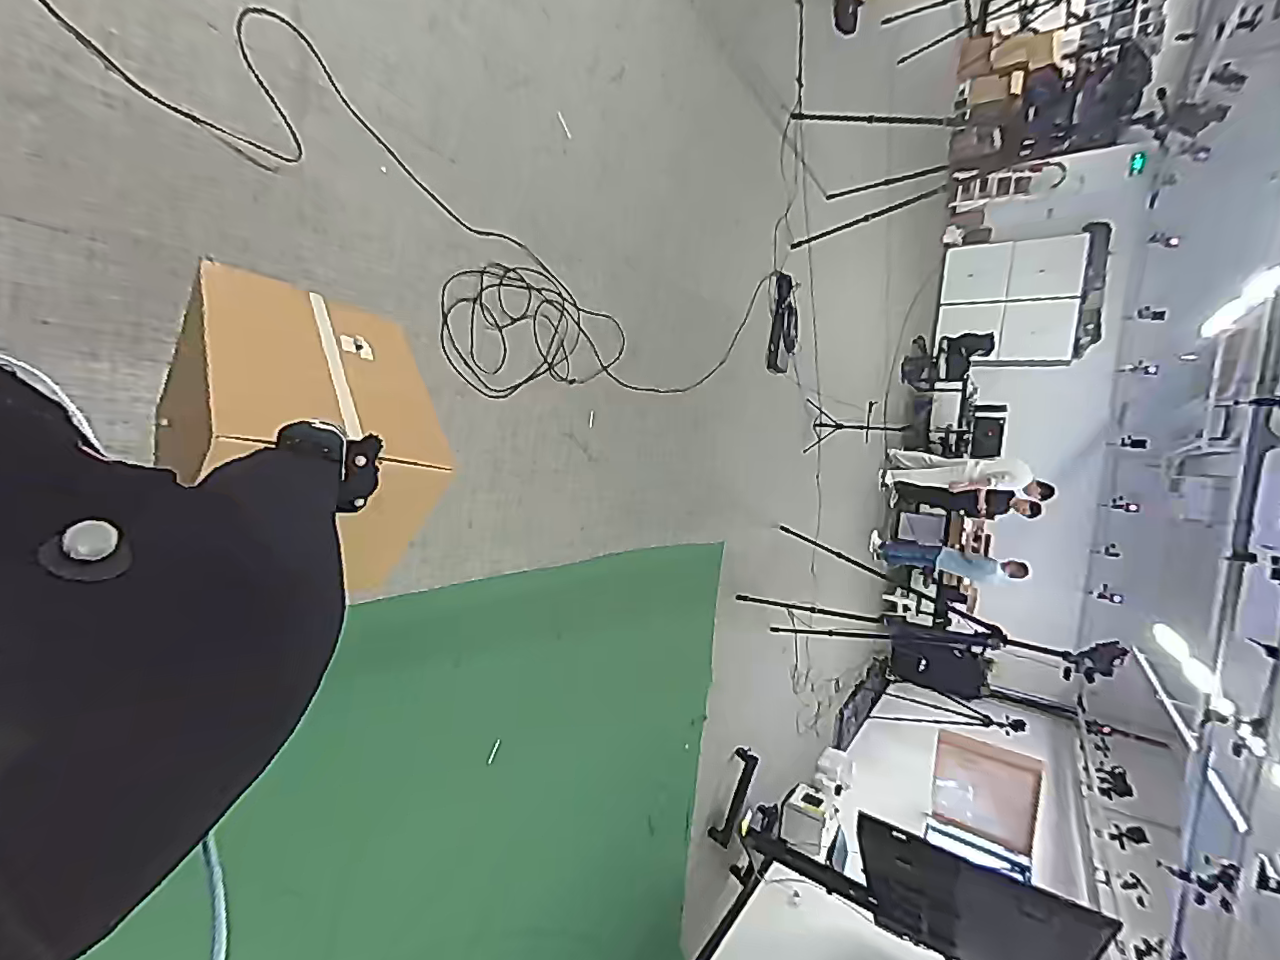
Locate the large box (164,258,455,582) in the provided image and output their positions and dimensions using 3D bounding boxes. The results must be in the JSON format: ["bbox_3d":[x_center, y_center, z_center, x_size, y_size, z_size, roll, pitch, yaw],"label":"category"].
[{"bbox_3d":[-0.571,-0.083,0.910,0.320,0.408,0.320,11,129,-49],"label":"large box"}]
